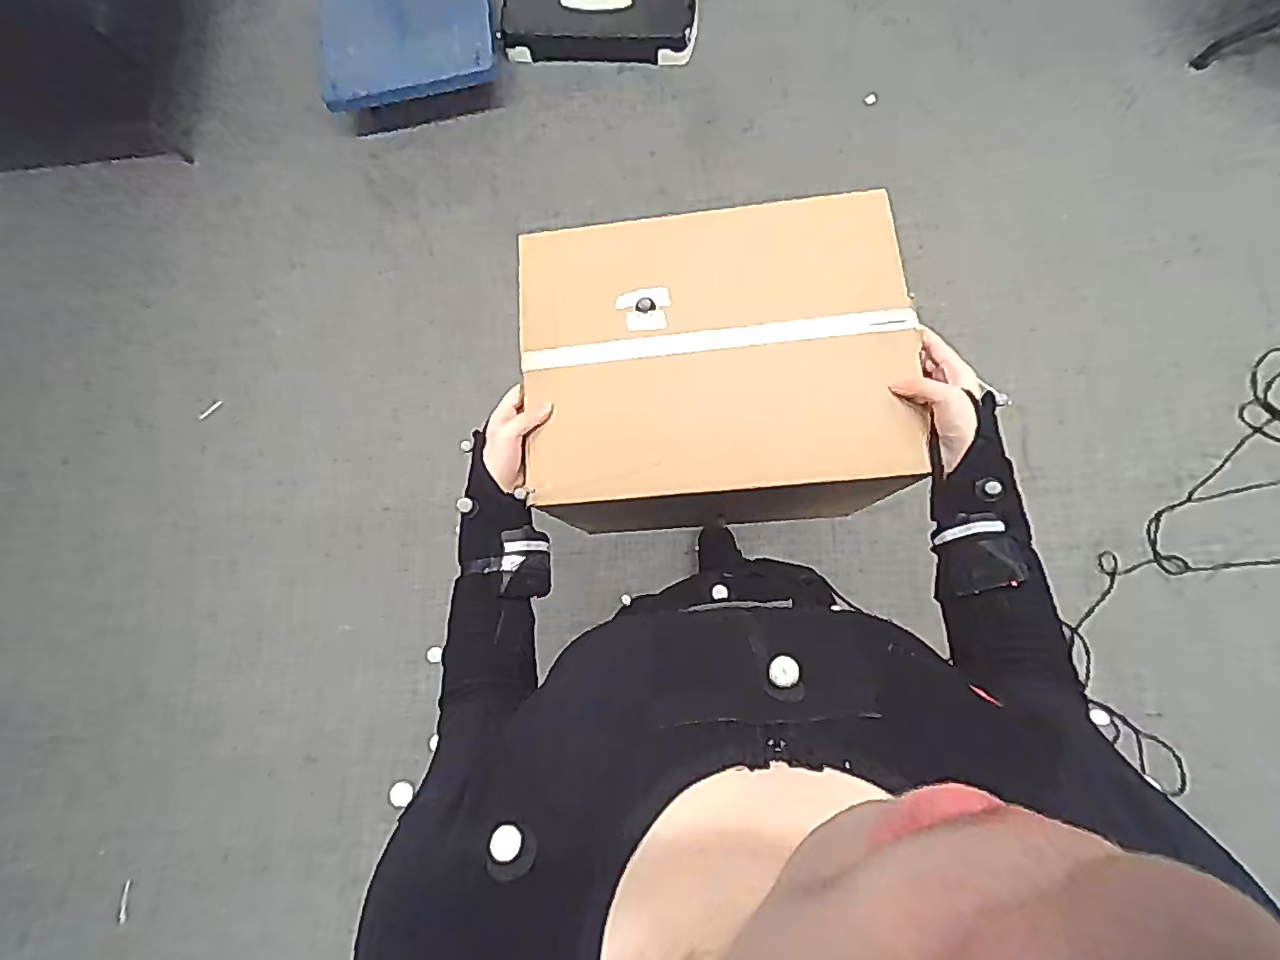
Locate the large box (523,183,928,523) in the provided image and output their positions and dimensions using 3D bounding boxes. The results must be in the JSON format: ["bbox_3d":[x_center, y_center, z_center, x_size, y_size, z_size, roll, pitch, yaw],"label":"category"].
[{"bbox_3d":[0.093,-0.124,0.719,0.408,0.320,0.320,-6,78,6],"label":"large box"}]
